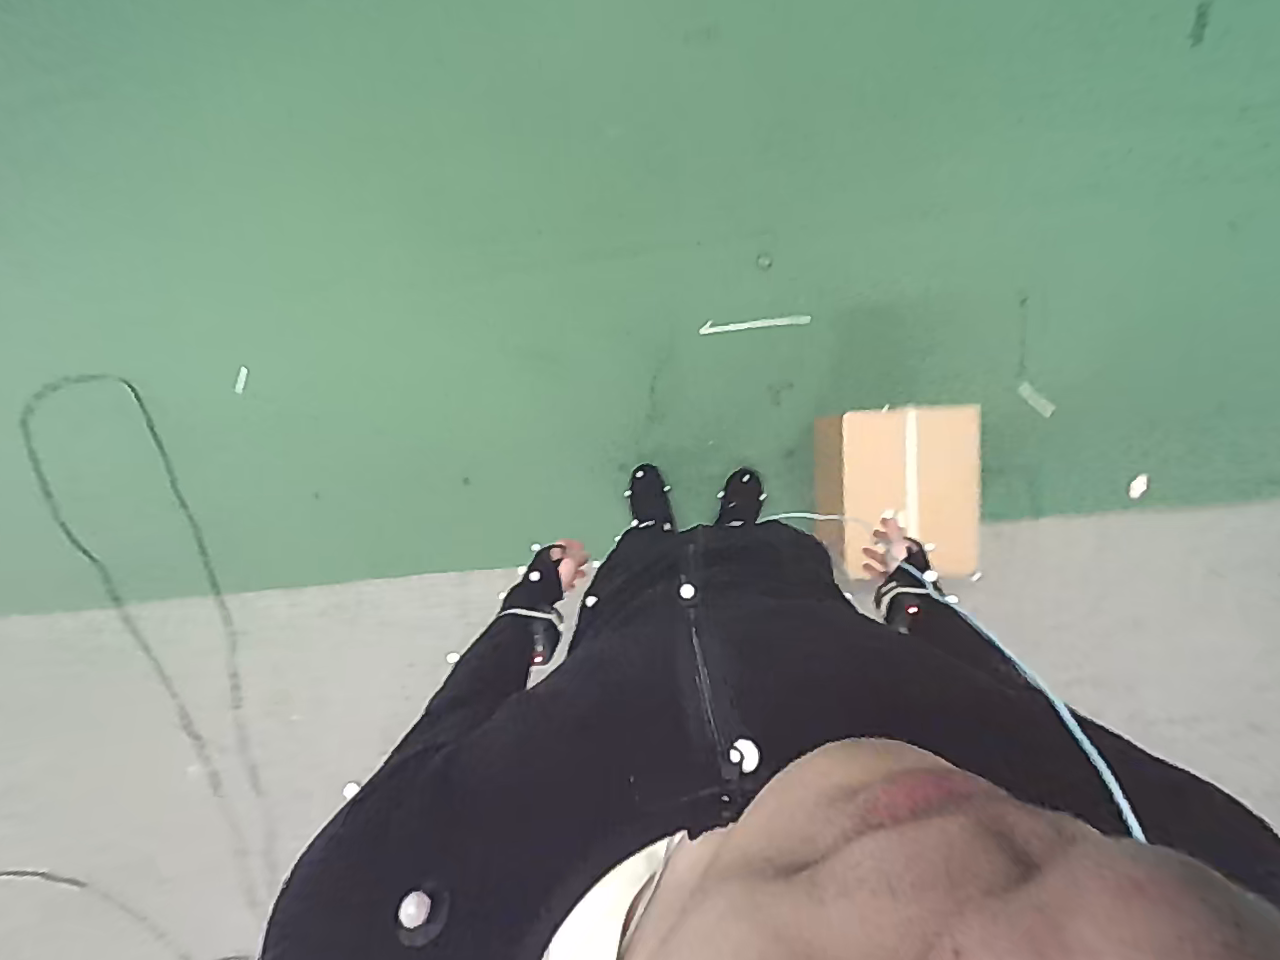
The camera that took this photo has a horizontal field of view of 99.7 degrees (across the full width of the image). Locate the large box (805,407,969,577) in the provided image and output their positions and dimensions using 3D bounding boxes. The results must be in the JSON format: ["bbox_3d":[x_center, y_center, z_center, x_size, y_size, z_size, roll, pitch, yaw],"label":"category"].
[{"bbox_3d":[0.641,0.020,1.450,0.320,0.320,0.408,-3,95,5],"label":"large box"}]
